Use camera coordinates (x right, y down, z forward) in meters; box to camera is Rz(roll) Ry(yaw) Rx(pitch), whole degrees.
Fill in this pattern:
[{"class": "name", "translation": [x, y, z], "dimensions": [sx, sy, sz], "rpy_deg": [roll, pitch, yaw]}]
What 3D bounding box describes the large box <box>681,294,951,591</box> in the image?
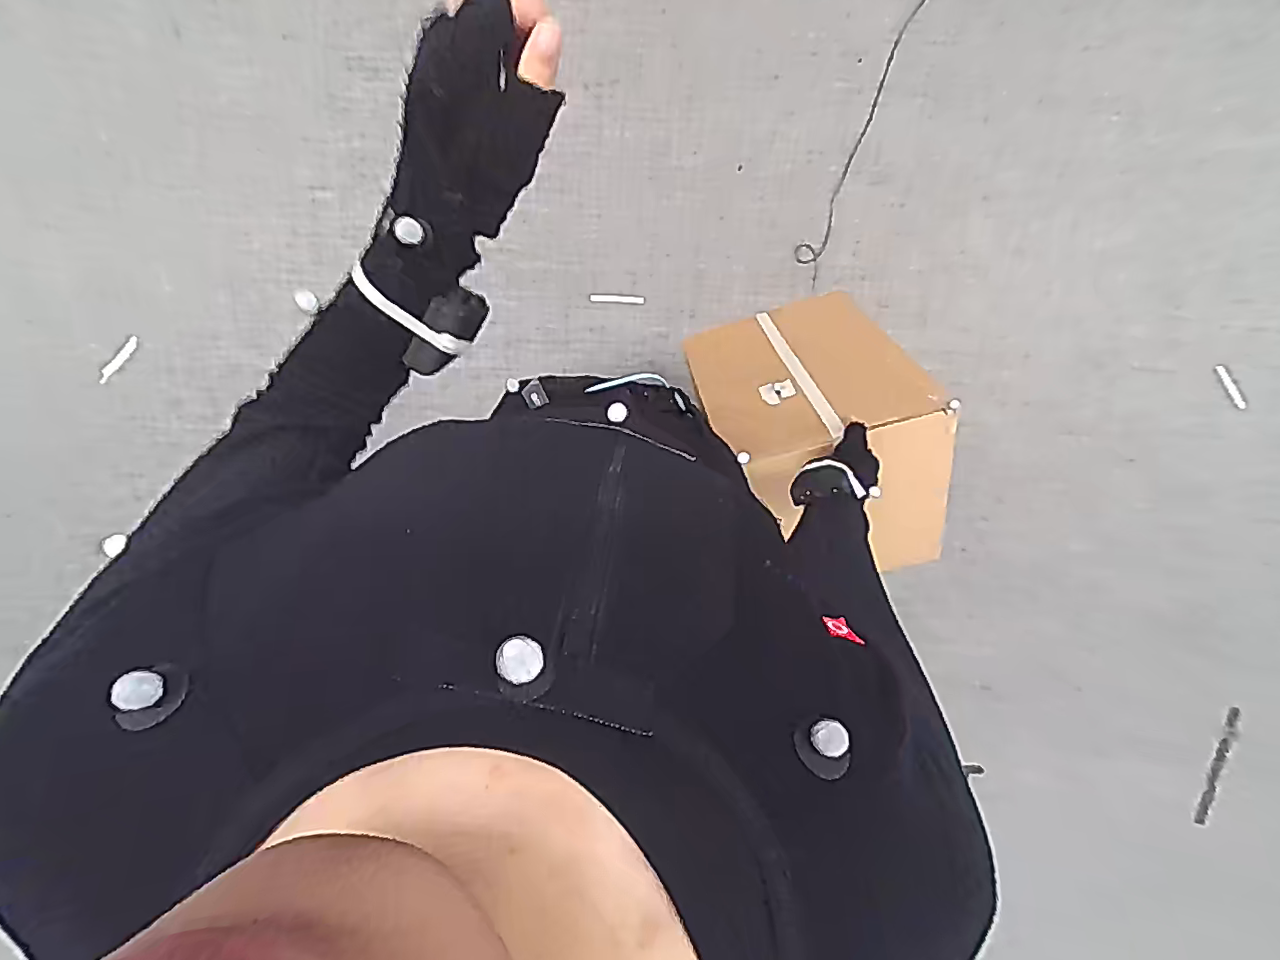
[{"class": "large box", "translation": [0.283, -0.076, 0.976], "dimensions": [0.320, 0.408, 0.320], "rpy_deg": [-16, 131, 6]}]
